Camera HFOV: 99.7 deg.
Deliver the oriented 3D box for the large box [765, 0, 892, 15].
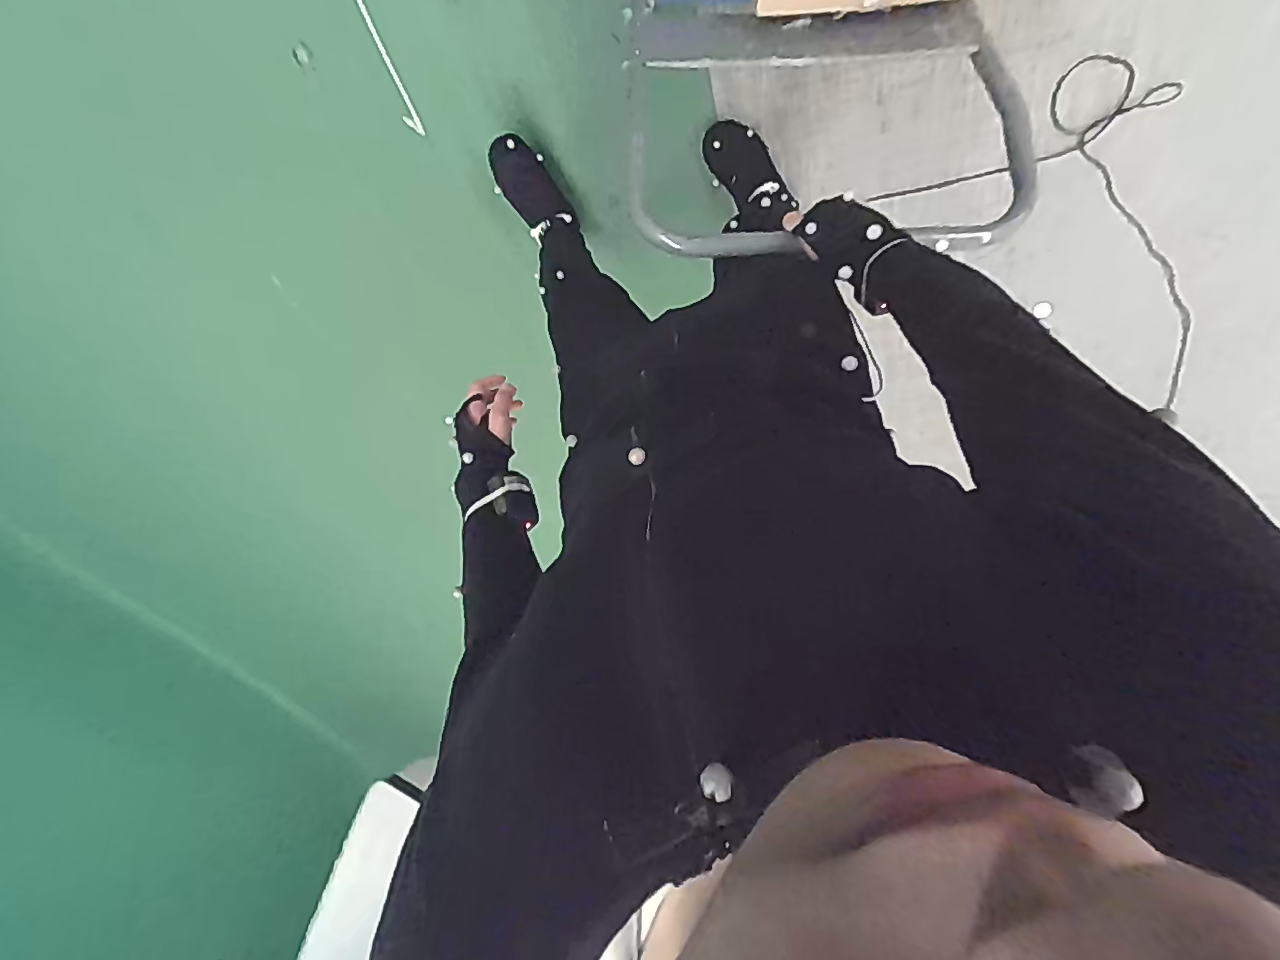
[{"bbox_3d":[0.314,-0.904,0.676,0.320,0.320,0.408,-2,148,5],"label":"large box"}]
